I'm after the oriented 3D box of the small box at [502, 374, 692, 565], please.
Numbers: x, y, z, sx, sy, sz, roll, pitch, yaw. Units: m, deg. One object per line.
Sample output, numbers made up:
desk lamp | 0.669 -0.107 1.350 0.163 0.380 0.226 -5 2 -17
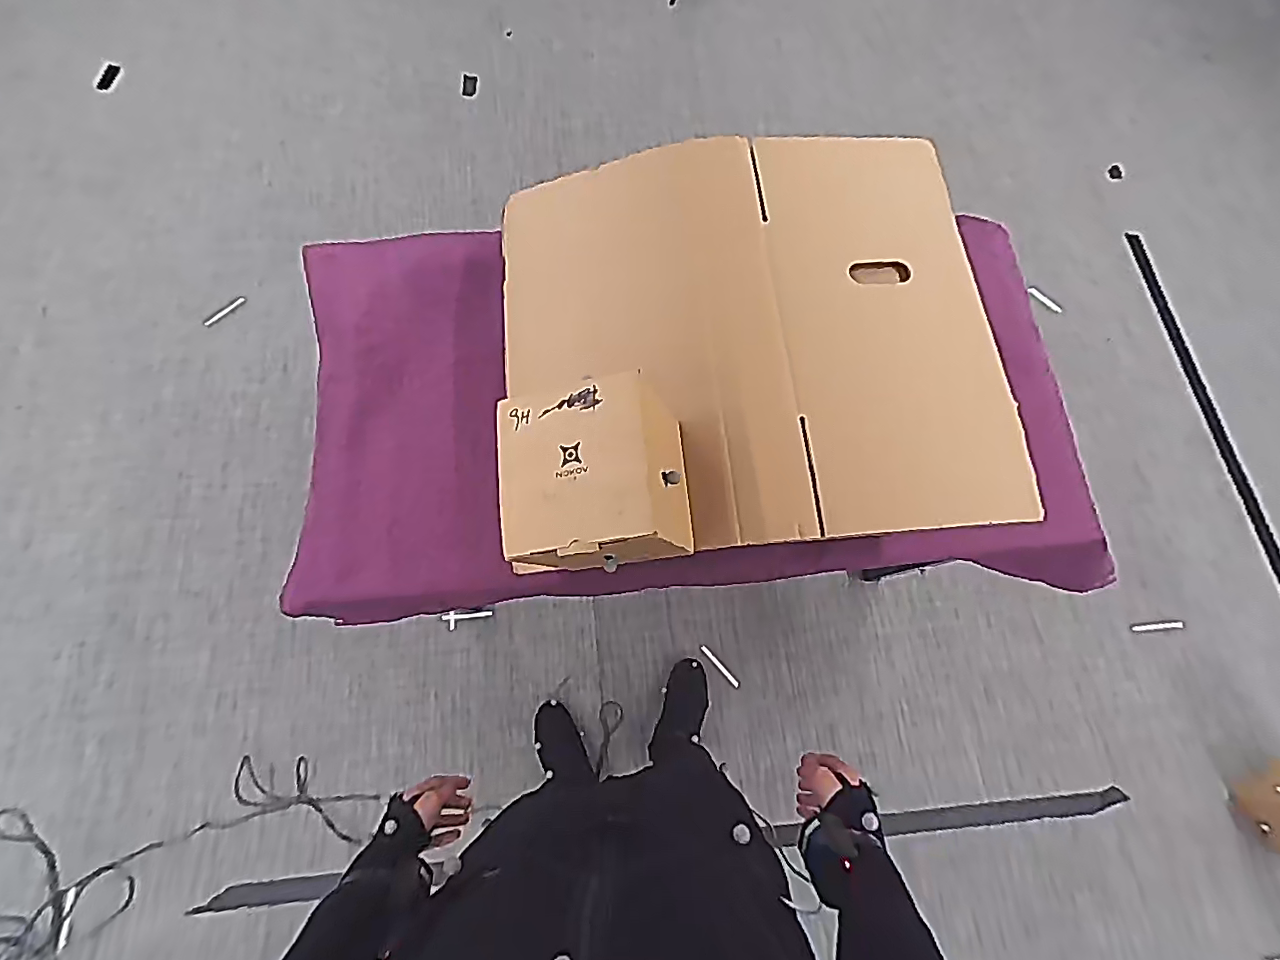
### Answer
small box | -0.042 0.003 0.626 0.168 0.176 0.179 -10 75 16
